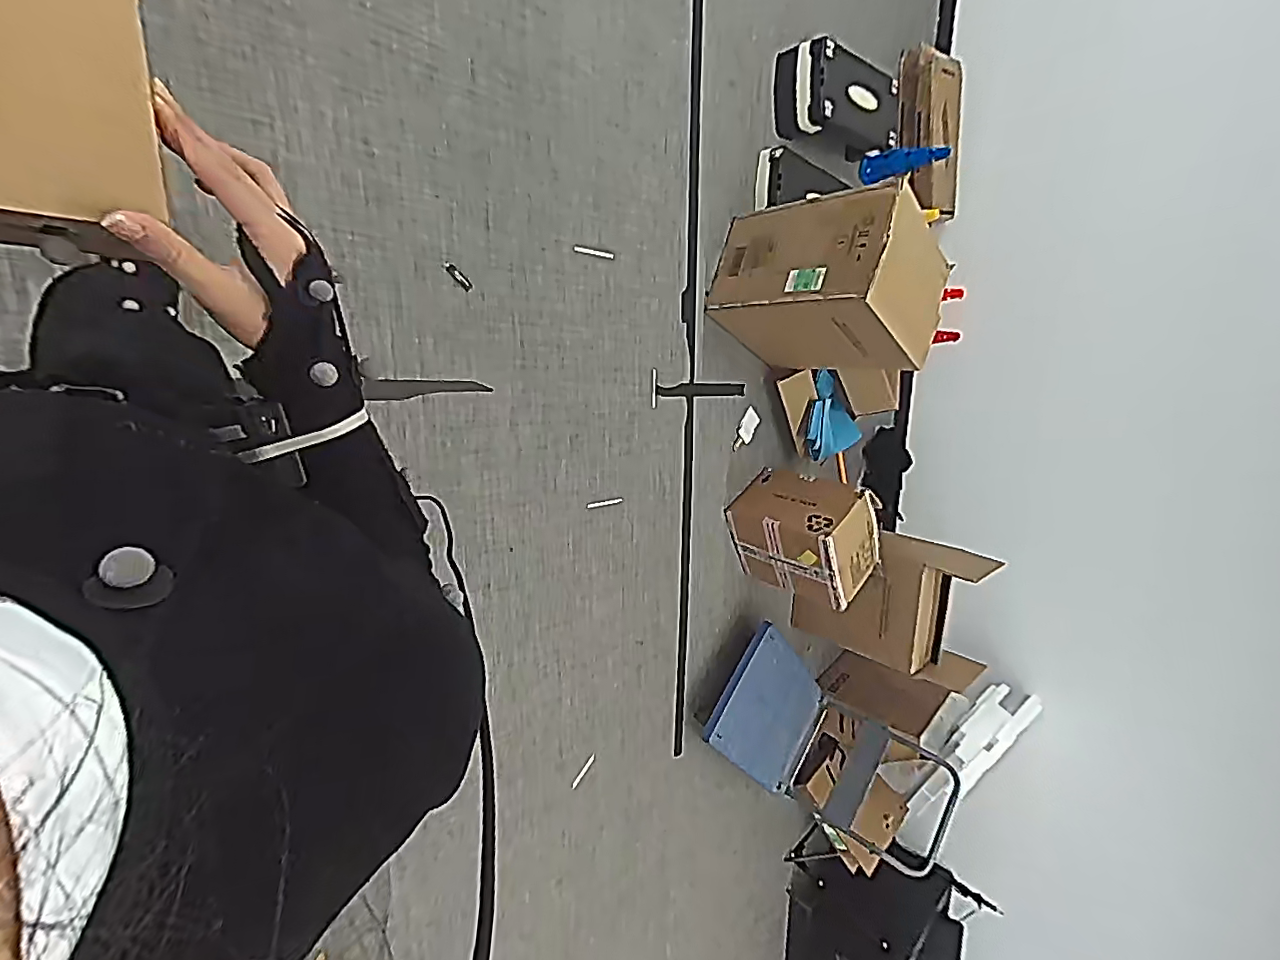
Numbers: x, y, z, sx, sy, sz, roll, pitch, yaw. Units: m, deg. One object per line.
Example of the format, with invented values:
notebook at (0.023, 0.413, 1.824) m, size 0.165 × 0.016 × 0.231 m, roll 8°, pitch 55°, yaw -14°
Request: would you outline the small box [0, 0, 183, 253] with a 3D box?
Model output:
small box at (-0.353, -0.215, 0.265) m, size 0.179 × 0.176 × 0.168 m, roll -9°, pitch 107°, yaw -41°
